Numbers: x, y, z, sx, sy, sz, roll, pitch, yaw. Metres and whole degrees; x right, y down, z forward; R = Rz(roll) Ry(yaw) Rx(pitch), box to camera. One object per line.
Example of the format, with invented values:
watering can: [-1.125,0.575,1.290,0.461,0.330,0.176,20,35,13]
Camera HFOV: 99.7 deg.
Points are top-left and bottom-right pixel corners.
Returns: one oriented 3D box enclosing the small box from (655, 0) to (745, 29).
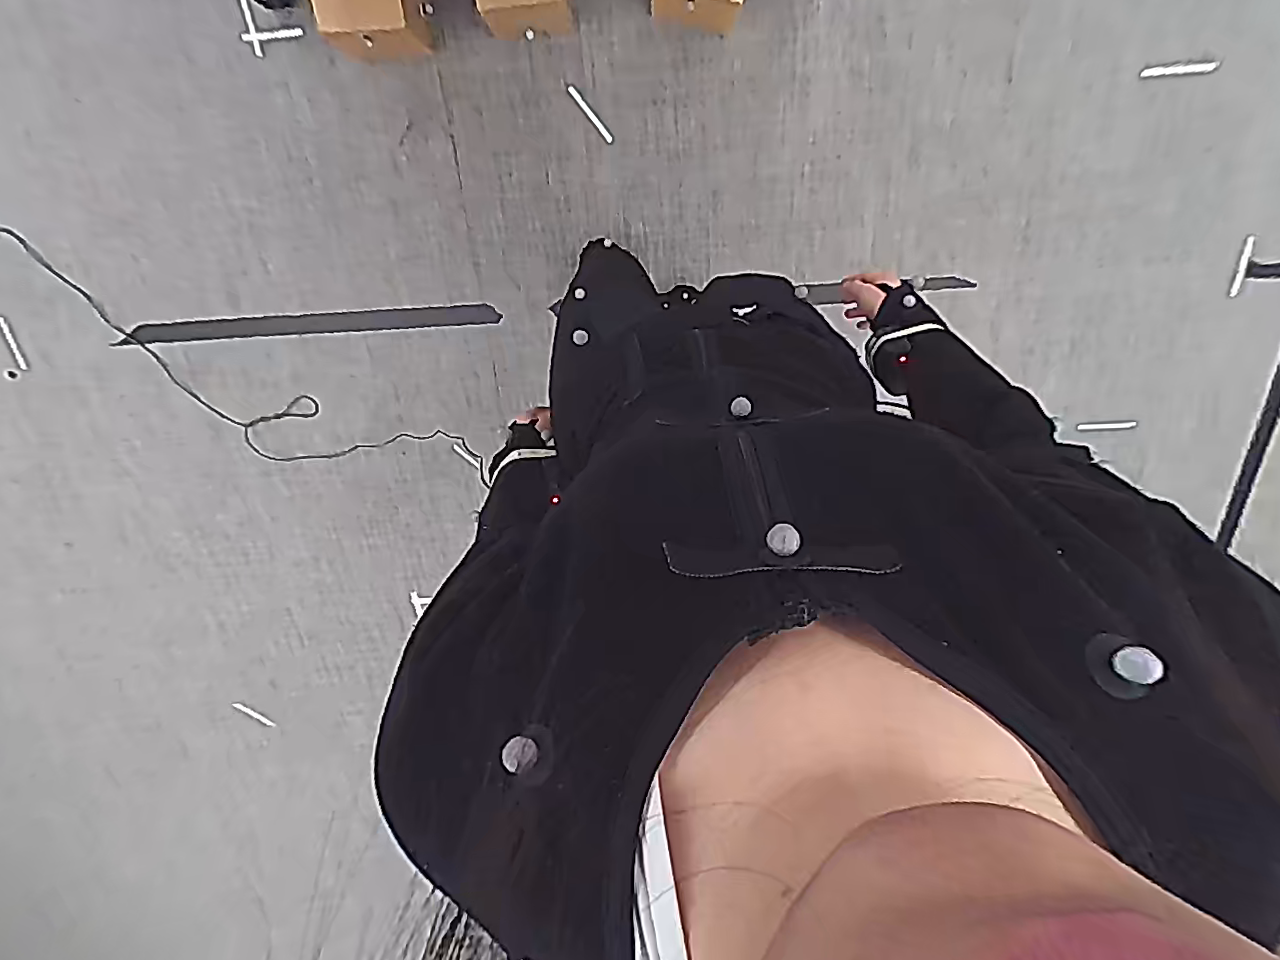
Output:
small box: [0.130,-1.008,1.038,0.179,0.176,0.168,13,113,-3]

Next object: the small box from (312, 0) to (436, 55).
small box: [-0.529,-0.968,1.071,0.179,0.176,0.168,-1,113,1]

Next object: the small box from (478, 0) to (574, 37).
small box: [-0.226,-1.002,1.047,0.168,0.176,0.179,-4,113,3]
